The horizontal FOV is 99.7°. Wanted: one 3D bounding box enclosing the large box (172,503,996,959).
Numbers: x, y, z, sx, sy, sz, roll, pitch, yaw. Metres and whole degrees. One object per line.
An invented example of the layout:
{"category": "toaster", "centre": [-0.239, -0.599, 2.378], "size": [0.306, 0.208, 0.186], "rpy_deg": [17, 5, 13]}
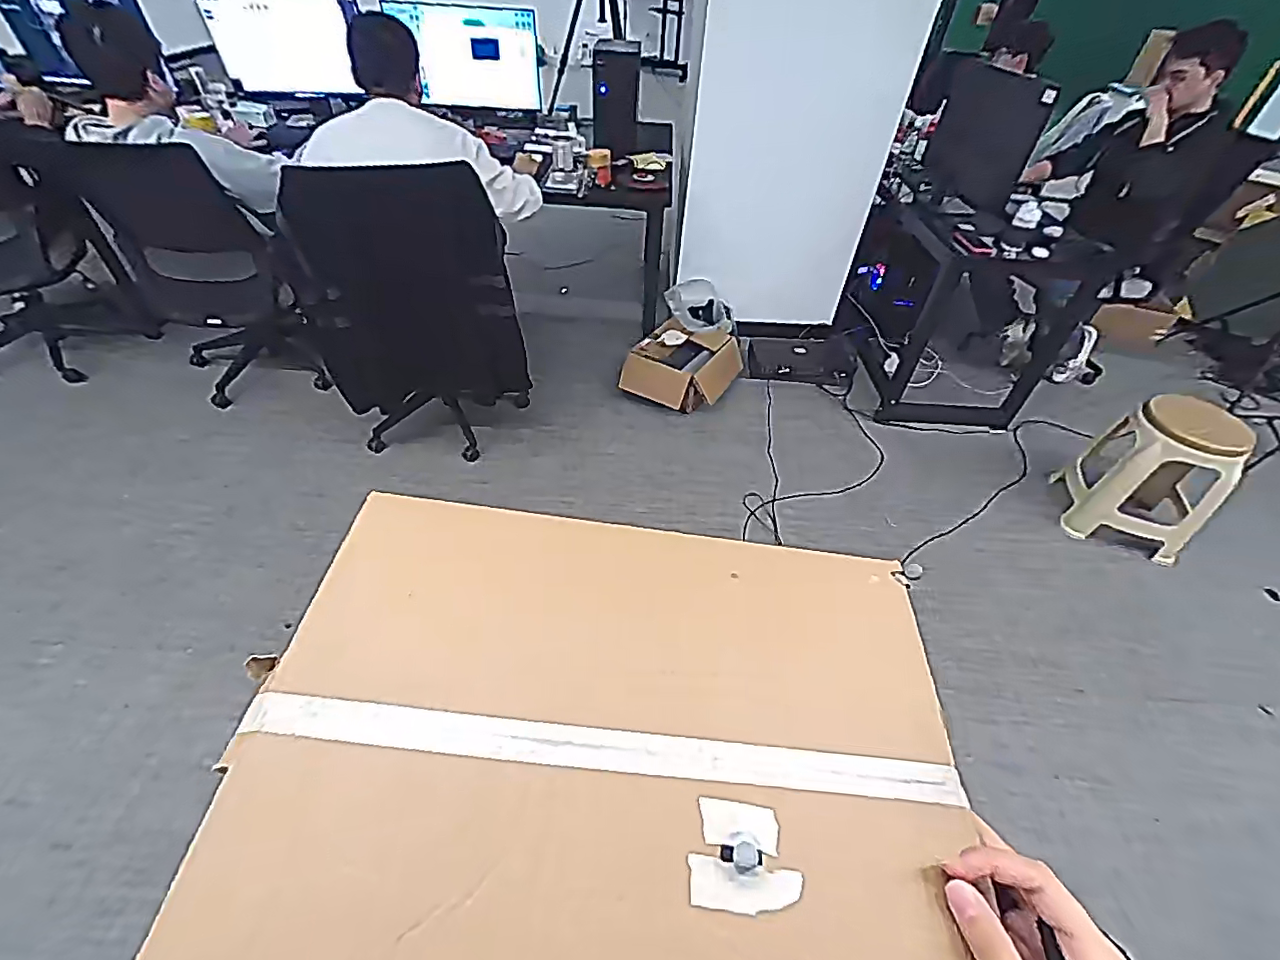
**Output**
{"category": "large box", "centre": [-0.028, 0.252, 0.435], "size": [0.408, 0.320, 0.320], "rpy_deg": [9, 51, -4]}
